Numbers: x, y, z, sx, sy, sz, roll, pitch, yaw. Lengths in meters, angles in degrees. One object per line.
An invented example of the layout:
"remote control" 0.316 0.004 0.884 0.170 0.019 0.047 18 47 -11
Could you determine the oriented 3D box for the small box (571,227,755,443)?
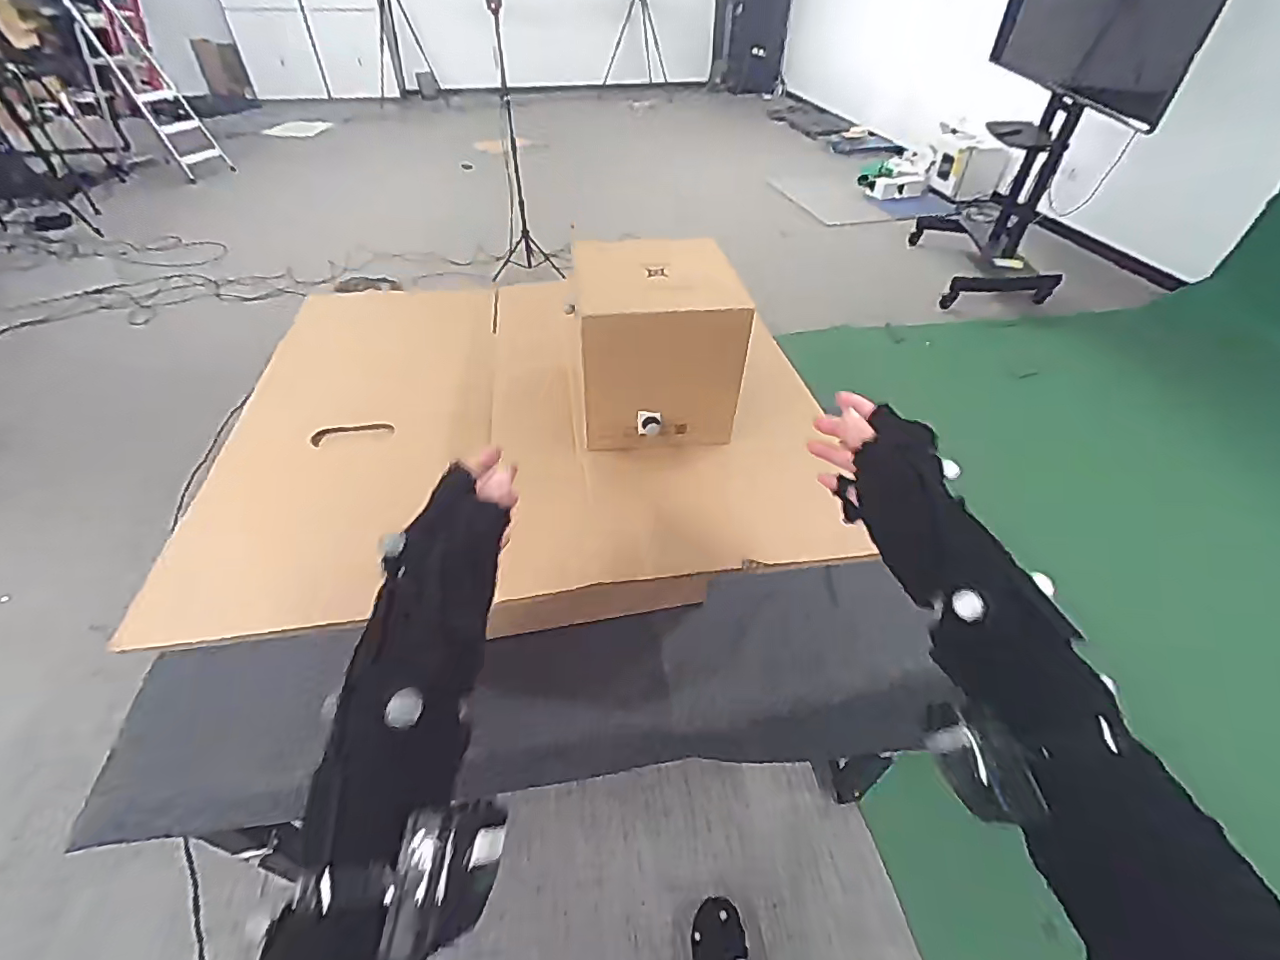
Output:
"small box" 0.011 -0.161 0.597 0.168 0.176 0.179 -5 46 -7
